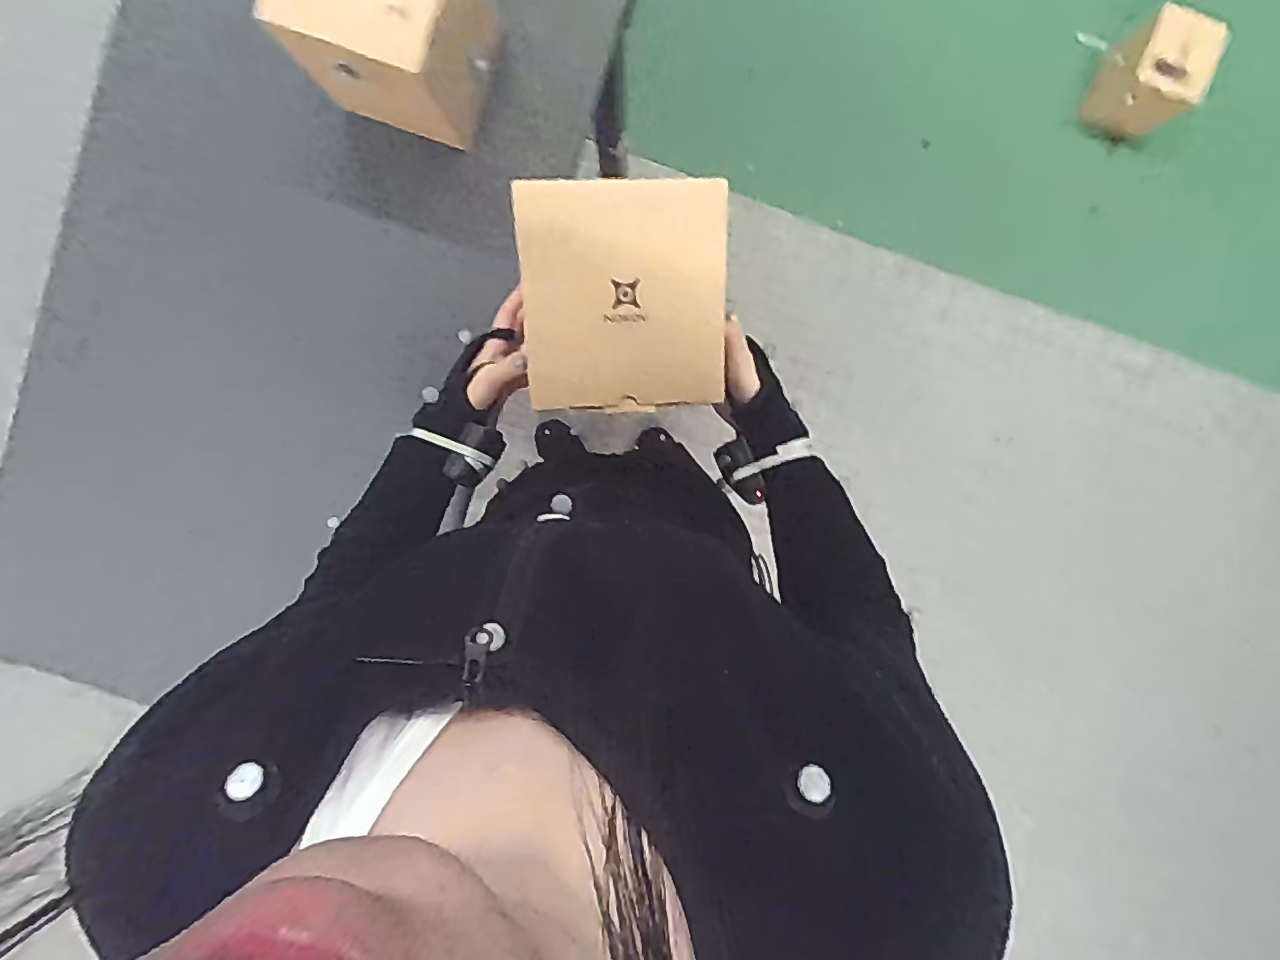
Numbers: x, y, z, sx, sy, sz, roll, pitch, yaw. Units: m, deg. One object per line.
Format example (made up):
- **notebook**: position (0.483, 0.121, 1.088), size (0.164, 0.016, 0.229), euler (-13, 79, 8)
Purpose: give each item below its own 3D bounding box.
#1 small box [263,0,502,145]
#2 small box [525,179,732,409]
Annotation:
- **small box**: position (-0.285, -0.531, 0.632), size (0.179, 0.176, 0.168), euler (18, 98, -2)
- **small box**: position (-0.014, -0.171, 0.516), size (0.168, 0.176, 0.179), euler (-4, 108, -4)
